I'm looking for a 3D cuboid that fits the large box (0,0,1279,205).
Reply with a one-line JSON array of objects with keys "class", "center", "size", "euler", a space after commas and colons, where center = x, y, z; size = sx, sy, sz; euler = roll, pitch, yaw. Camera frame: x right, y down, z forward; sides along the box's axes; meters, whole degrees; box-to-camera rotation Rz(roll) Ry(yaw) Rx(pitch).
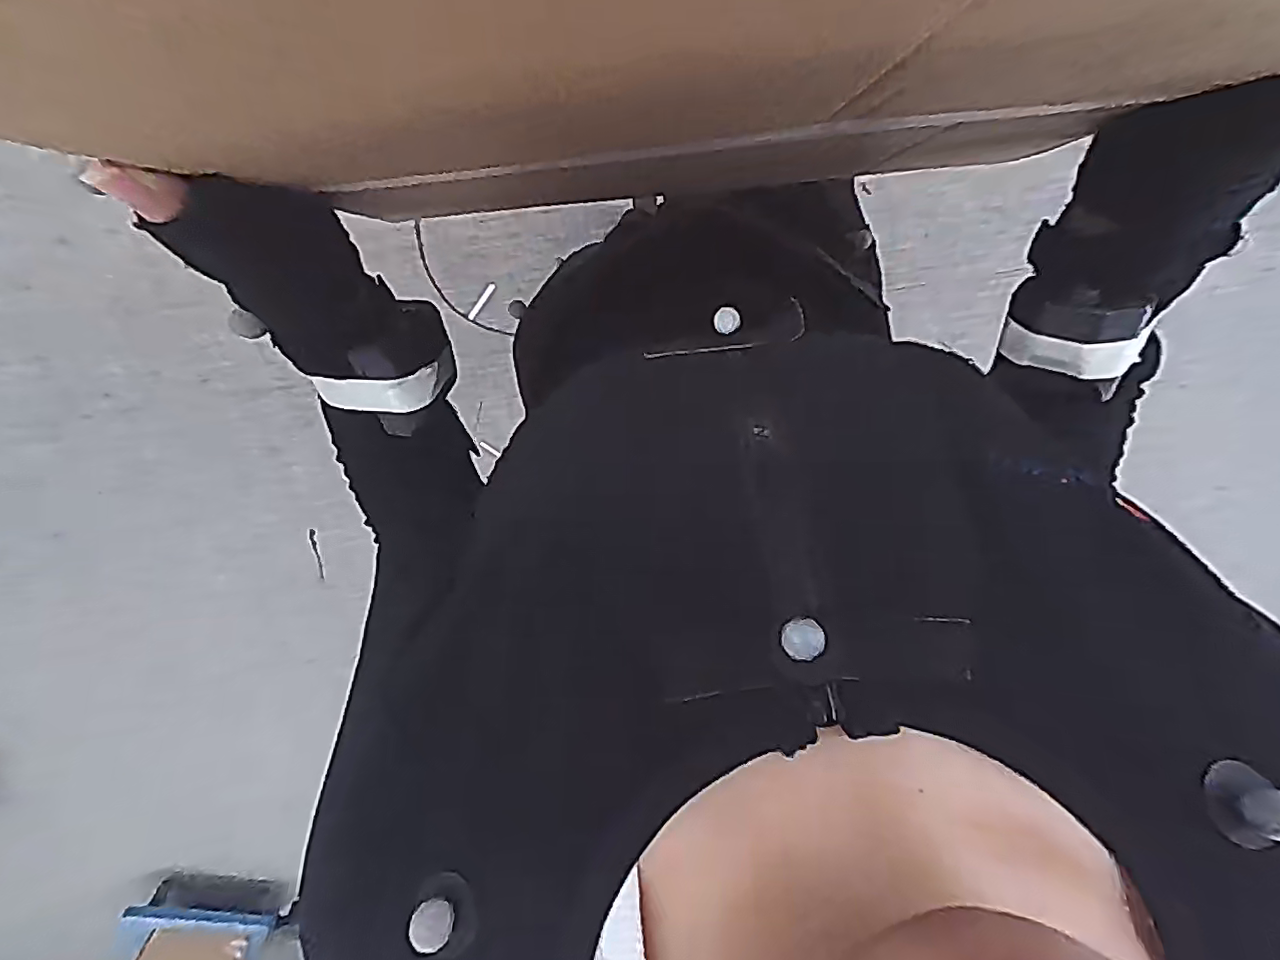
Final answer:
[{"class": "large box", "center": [0.022, -0.293, 0.168], "size": [0.408, 0.320, 0.320], "euler": [-5, 111, 1]}]
